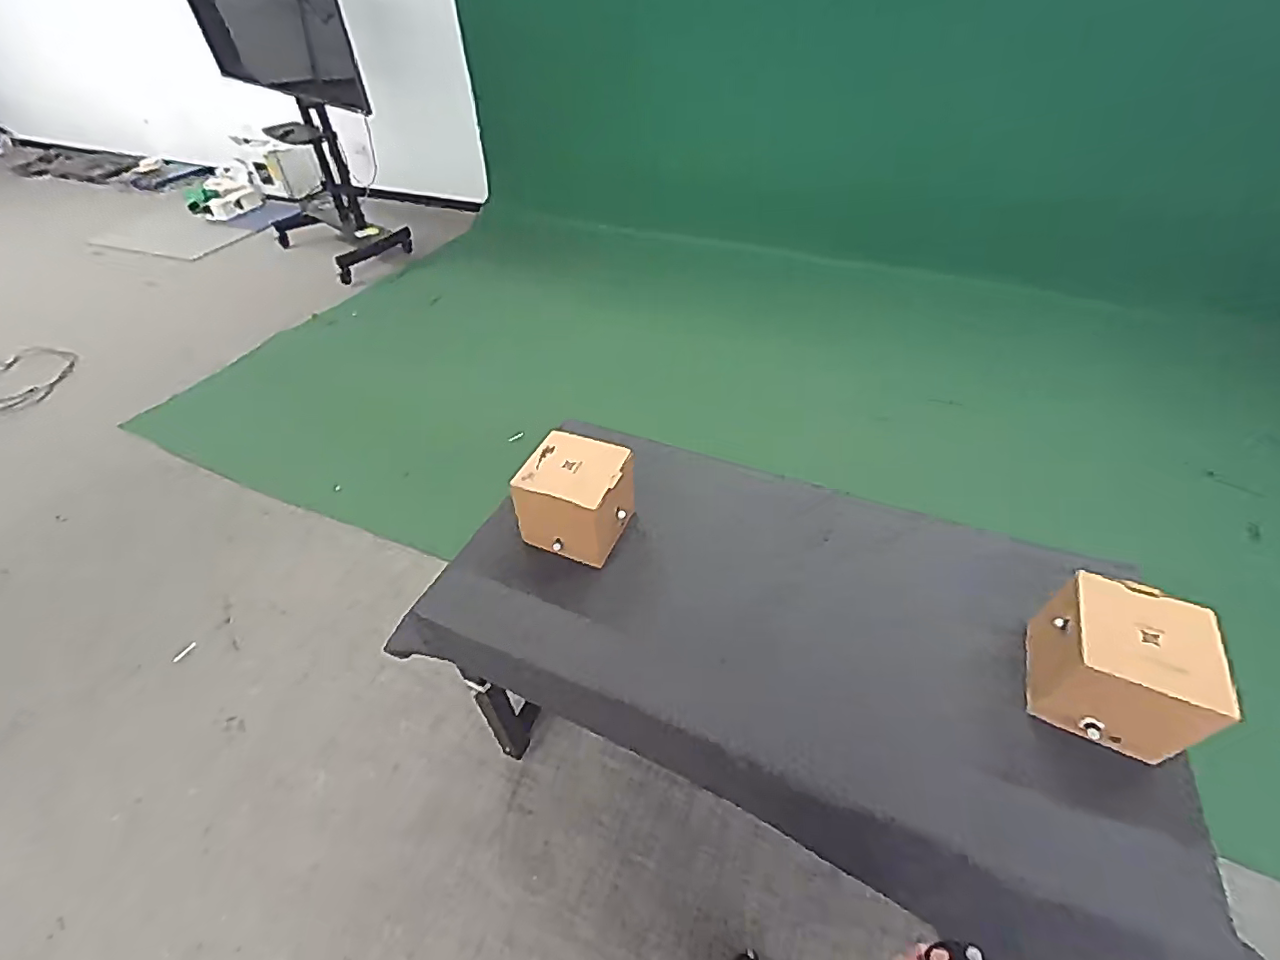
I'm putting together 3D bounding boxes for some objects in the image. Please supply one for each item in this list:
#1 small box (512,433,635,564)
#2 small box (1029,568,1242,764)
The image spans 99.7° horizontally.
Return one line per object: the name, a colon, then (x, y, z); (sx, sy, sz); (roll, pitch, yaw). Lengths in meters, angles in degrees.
small box: (-0.120, 0.040, 1.053); (0.179, 0.176, 0.168); (17, 47, 16)
small box: (0.696, 0.267, 0.784); (0.168, 0.176, 0.179); (20, 49, 23)
